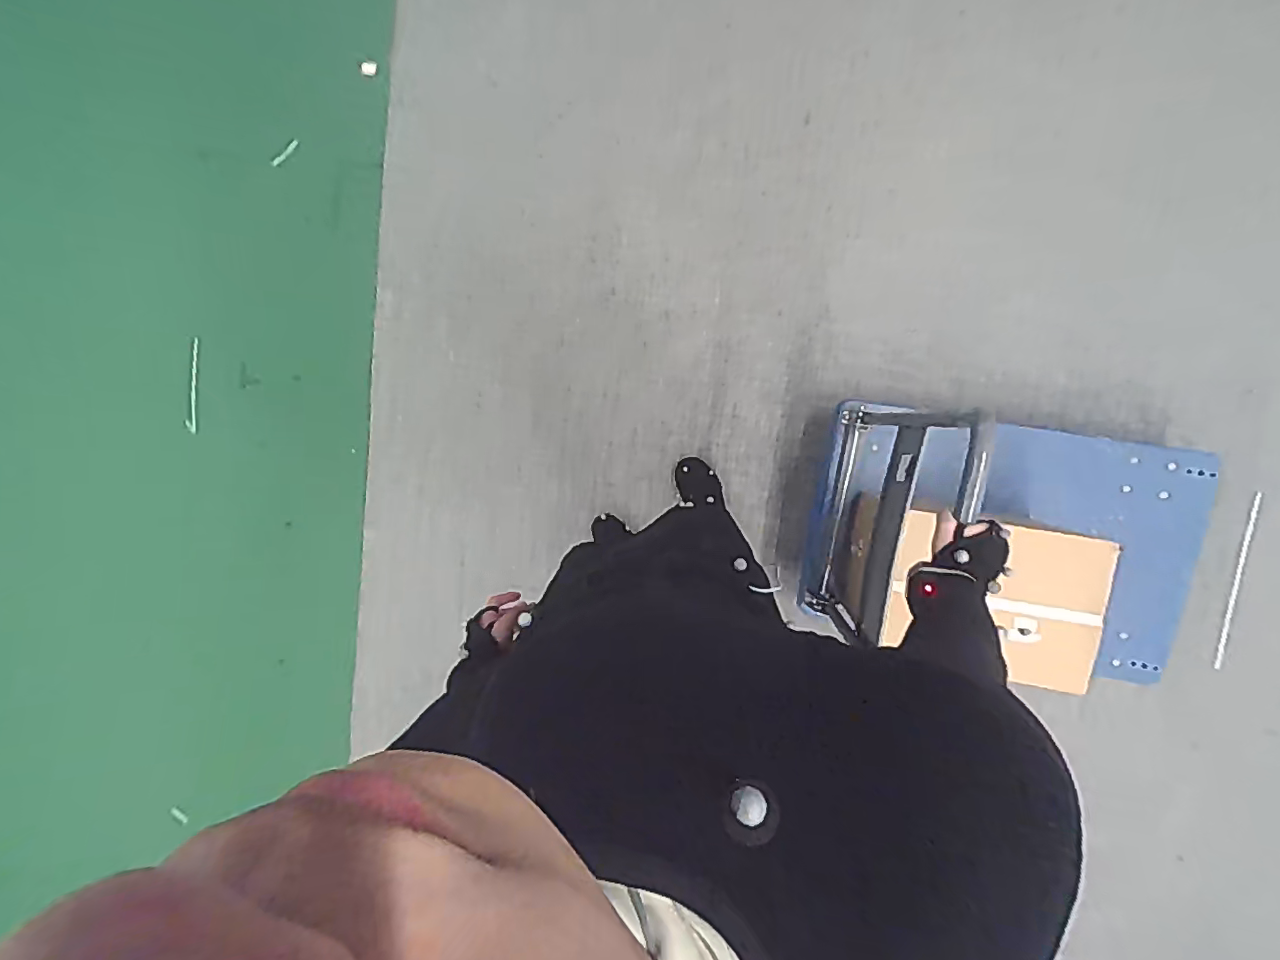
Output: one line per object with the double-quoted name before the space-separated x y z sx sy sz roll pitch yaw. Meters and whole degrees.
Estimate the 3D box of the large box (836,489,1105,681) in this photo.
"large box" 0.703 0.211 1.227 0.408 0.320 0.320 9 98 6
